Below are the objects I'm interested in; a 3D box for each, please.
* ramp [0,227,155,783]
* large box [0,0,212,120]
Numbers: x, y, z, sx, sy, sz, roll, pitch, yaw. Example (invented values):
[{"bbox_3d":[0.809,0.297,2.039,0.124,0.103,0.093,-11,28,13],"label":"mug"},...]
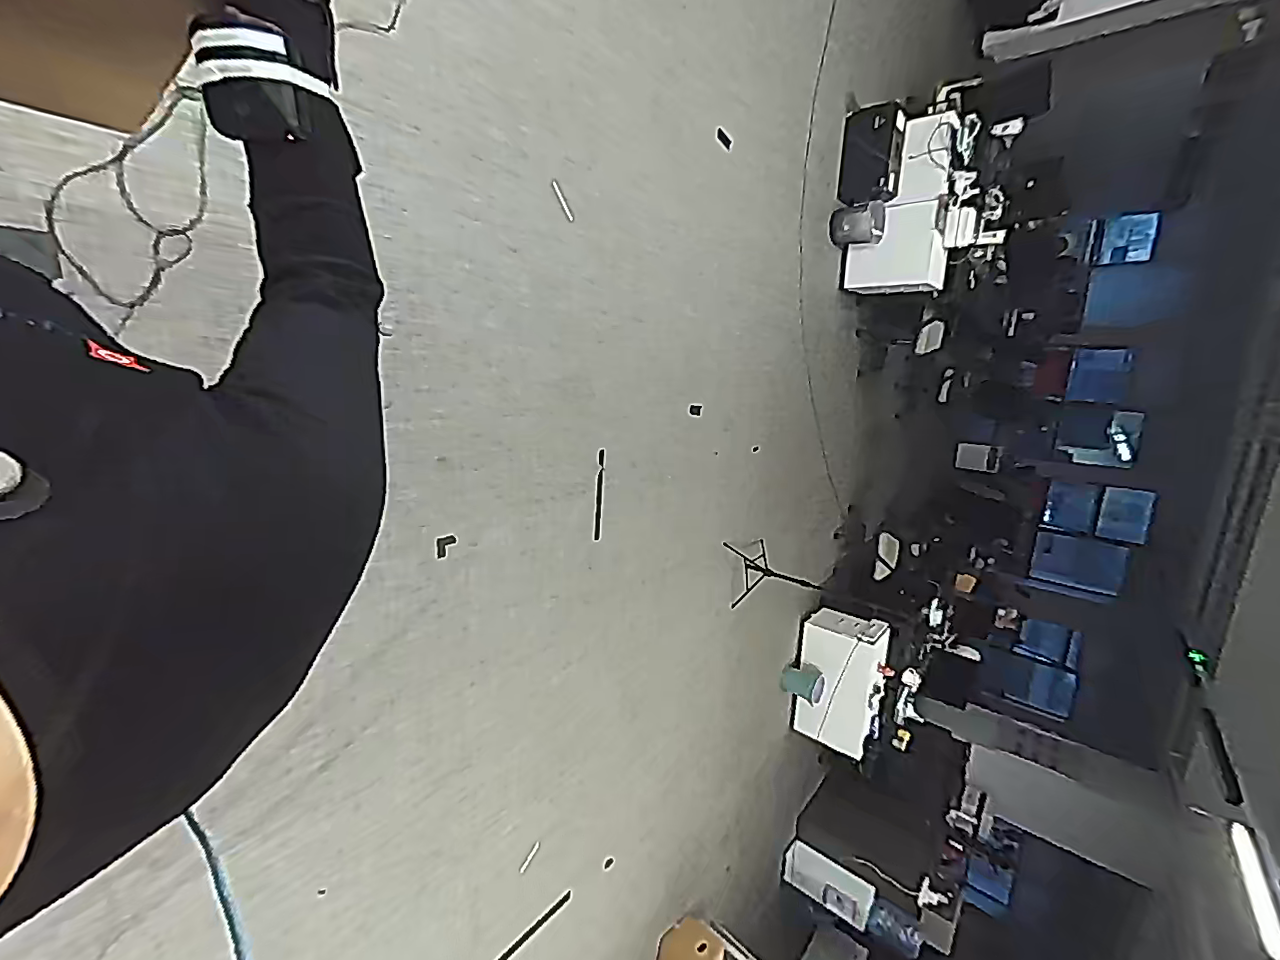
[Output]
[{"bbox_3d":[-1.225,0.058,0.905,0.509,0.206,0.991,-14,110,-47],"label":"ramp"},{"bbox_3d":[-0.495,-0.444,0.249,0.408,0.320,0.320,-14,107,-51],"label":"large box"}]
